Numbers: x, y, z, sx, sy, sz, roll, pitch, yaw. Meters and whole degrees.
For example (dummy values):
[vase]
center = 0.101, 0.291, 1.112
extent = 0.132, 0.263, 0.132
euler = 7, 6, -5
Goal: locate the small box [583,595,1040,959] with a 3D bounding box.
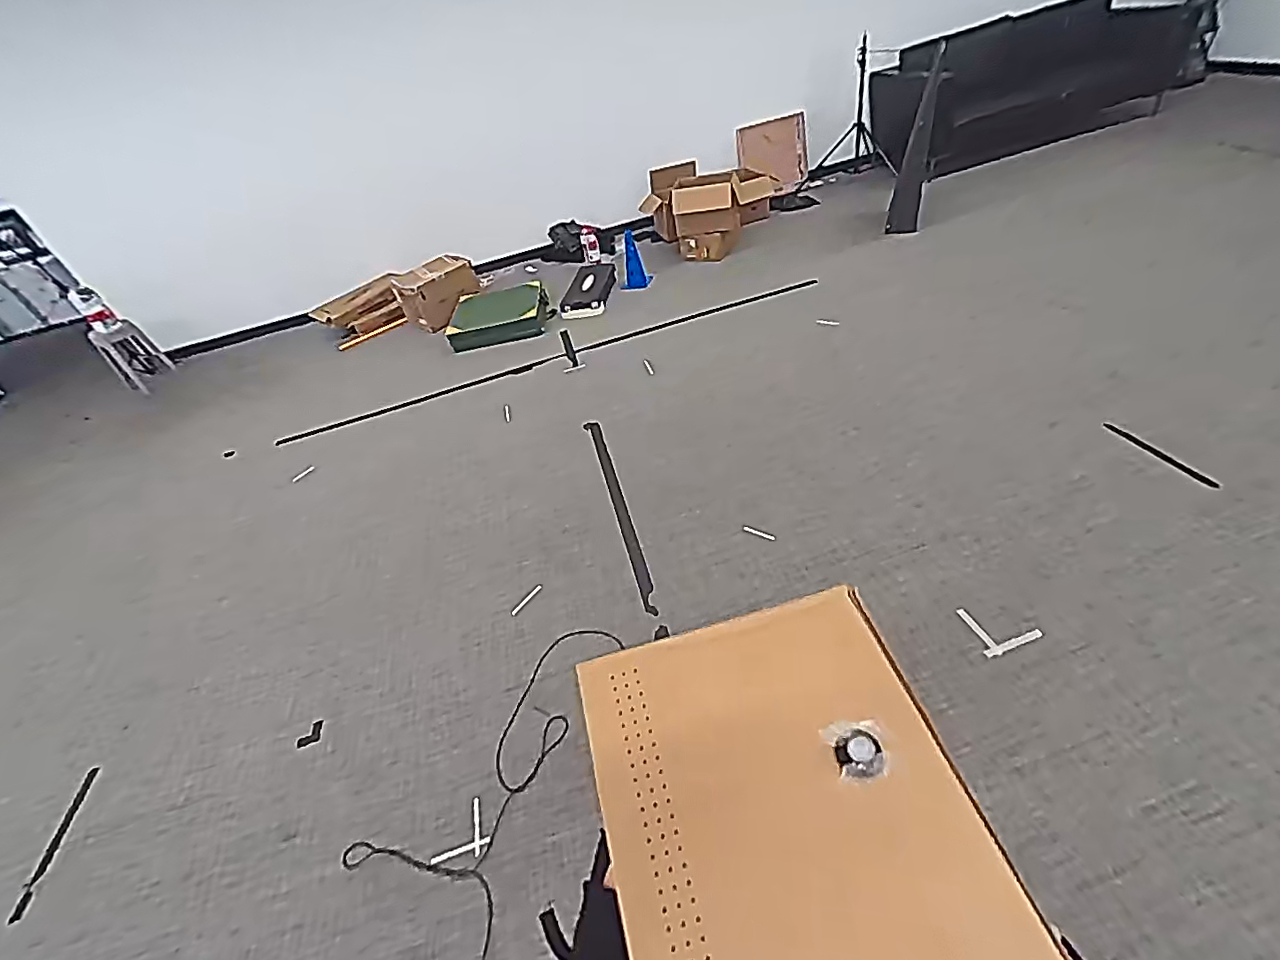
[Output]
[small box]
center = 0.070, 0.202, 0.324
extent = 0.176, 0.168, 0.179
euler = -16, 50, -4
